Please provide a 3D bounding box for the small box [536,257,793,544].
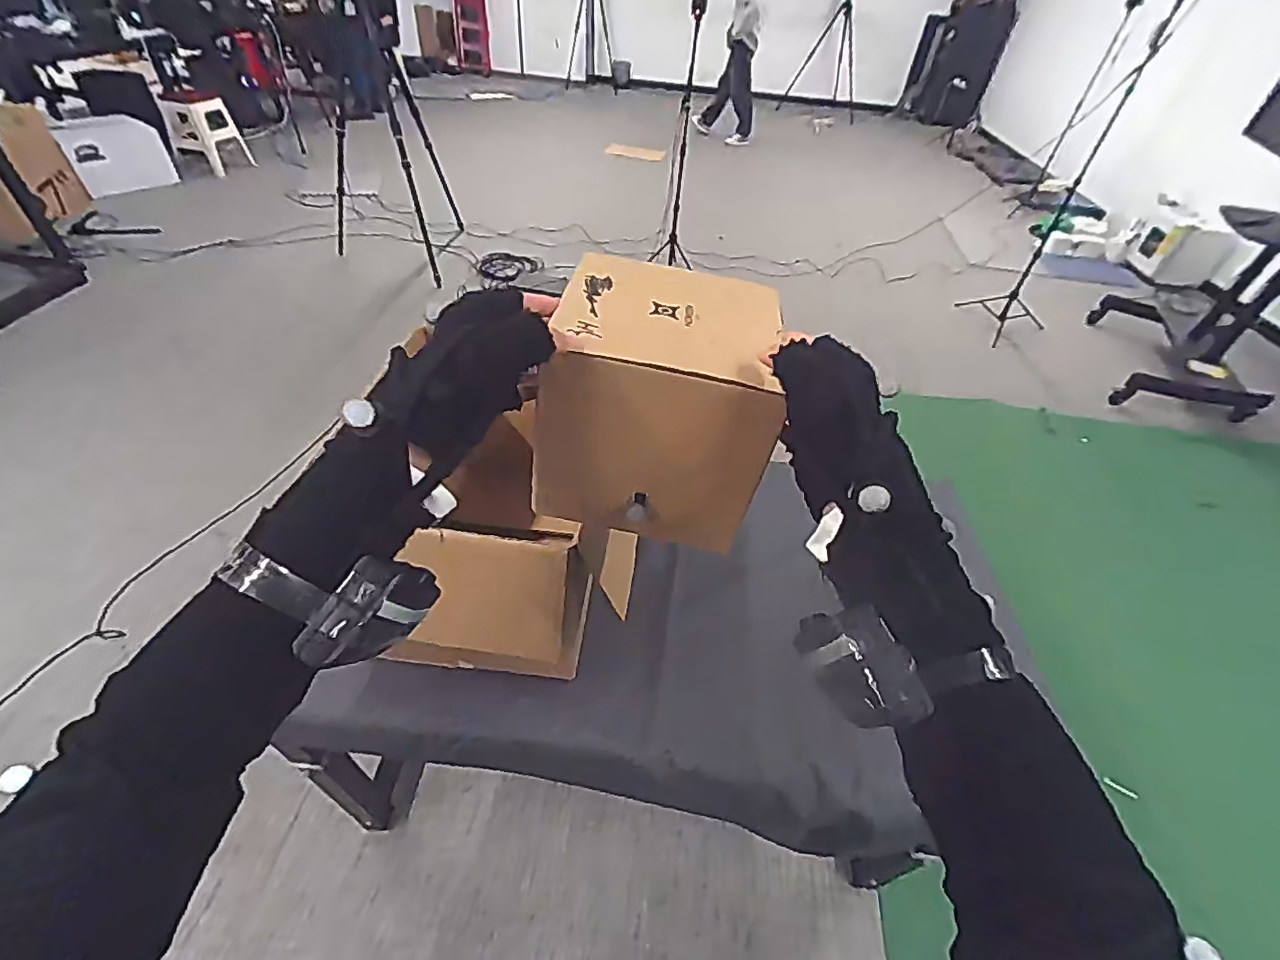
[{"bbox_3d":[0.015,-0.065,0.473,0.179,0.176,0.168,11,43,-1],"label":"small box"}]
